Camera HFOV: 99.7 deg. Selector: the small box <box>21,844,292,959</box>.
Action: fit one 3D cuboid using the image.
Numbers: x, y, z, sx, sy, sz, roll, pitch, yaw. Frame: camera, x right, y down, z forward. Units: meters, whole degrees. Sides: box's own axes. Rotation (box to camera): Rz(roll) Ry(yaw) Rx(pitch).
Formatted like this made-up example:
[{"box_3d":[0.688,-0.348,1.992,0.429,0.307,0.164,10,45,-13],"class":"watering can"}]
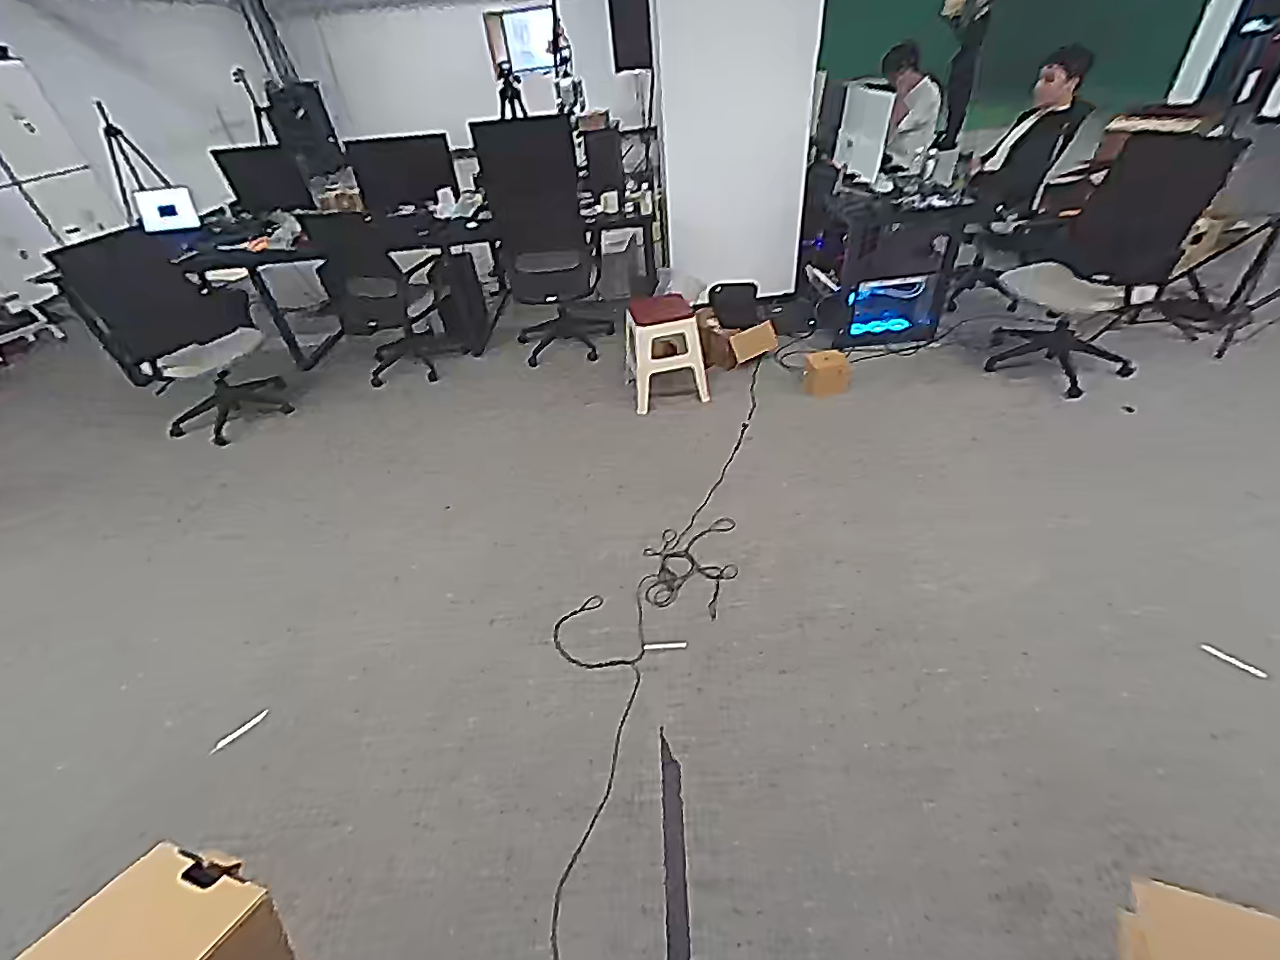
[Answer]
[{"box_3d":[-0.449,0.492,0.492,0.168,0.176,0.179,4,20,21],"class":"small box"}]
